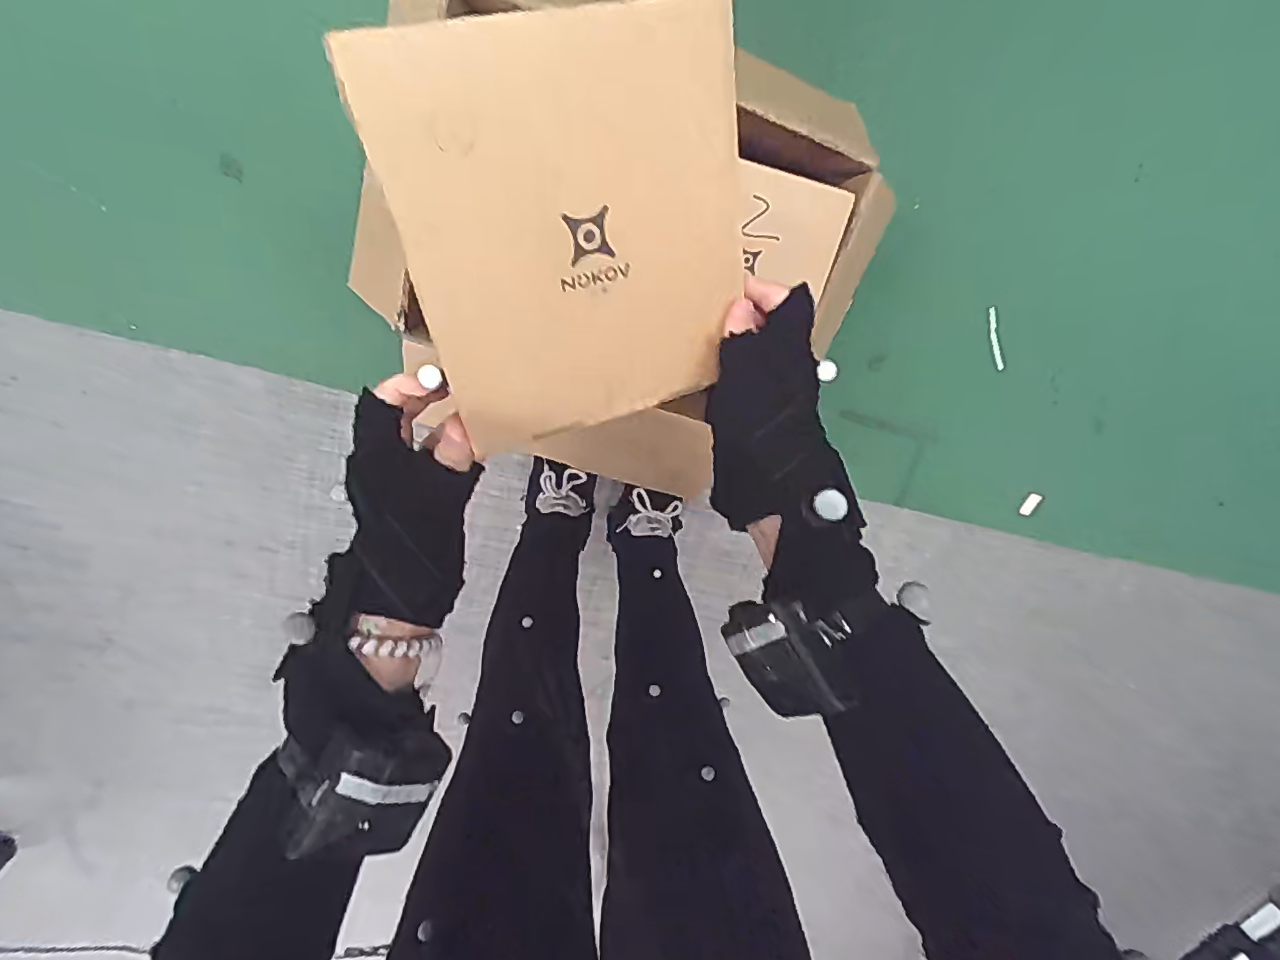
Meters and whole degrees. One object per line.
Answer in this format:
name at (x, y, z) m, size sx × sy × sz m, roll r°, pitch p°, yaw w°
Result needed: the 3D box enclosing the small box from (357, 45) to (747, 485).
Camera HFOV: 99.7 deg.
small box at (-0.053, -0.129, 0.328) m, size 0.168 × 0.176 × 0.179 m, roll -20°, pitch 124°, yaw -15°
